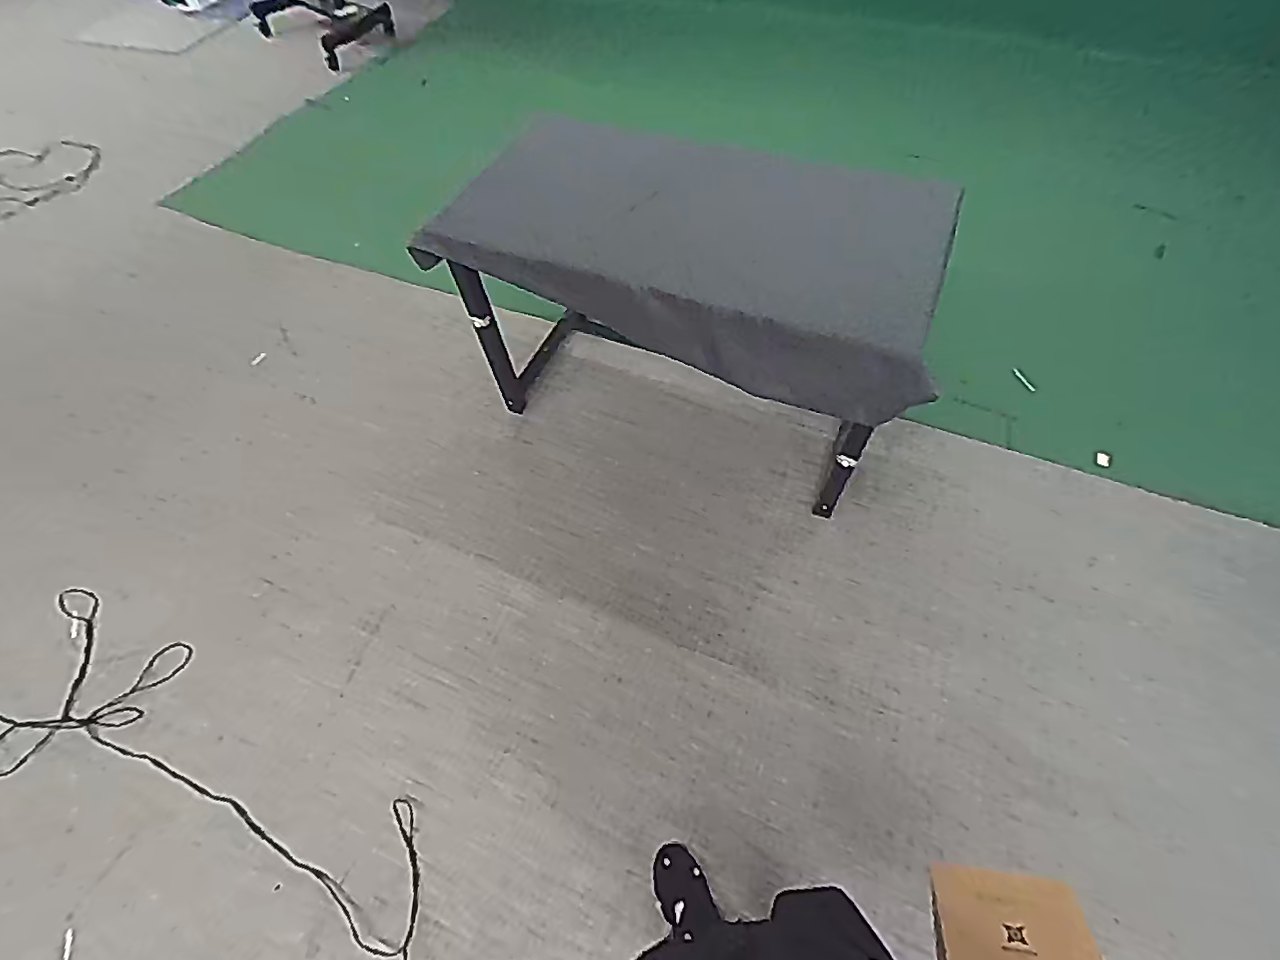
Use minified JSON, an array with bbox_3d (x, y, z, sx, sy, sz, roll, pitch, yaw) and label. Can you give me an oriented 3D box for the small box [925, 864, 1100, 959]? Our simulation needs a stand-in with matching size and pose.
[{"bbox_3d":[0.456,0.621,0.656,0.168,0.176,0.179,-6,15,20],"label":"small box"}]
